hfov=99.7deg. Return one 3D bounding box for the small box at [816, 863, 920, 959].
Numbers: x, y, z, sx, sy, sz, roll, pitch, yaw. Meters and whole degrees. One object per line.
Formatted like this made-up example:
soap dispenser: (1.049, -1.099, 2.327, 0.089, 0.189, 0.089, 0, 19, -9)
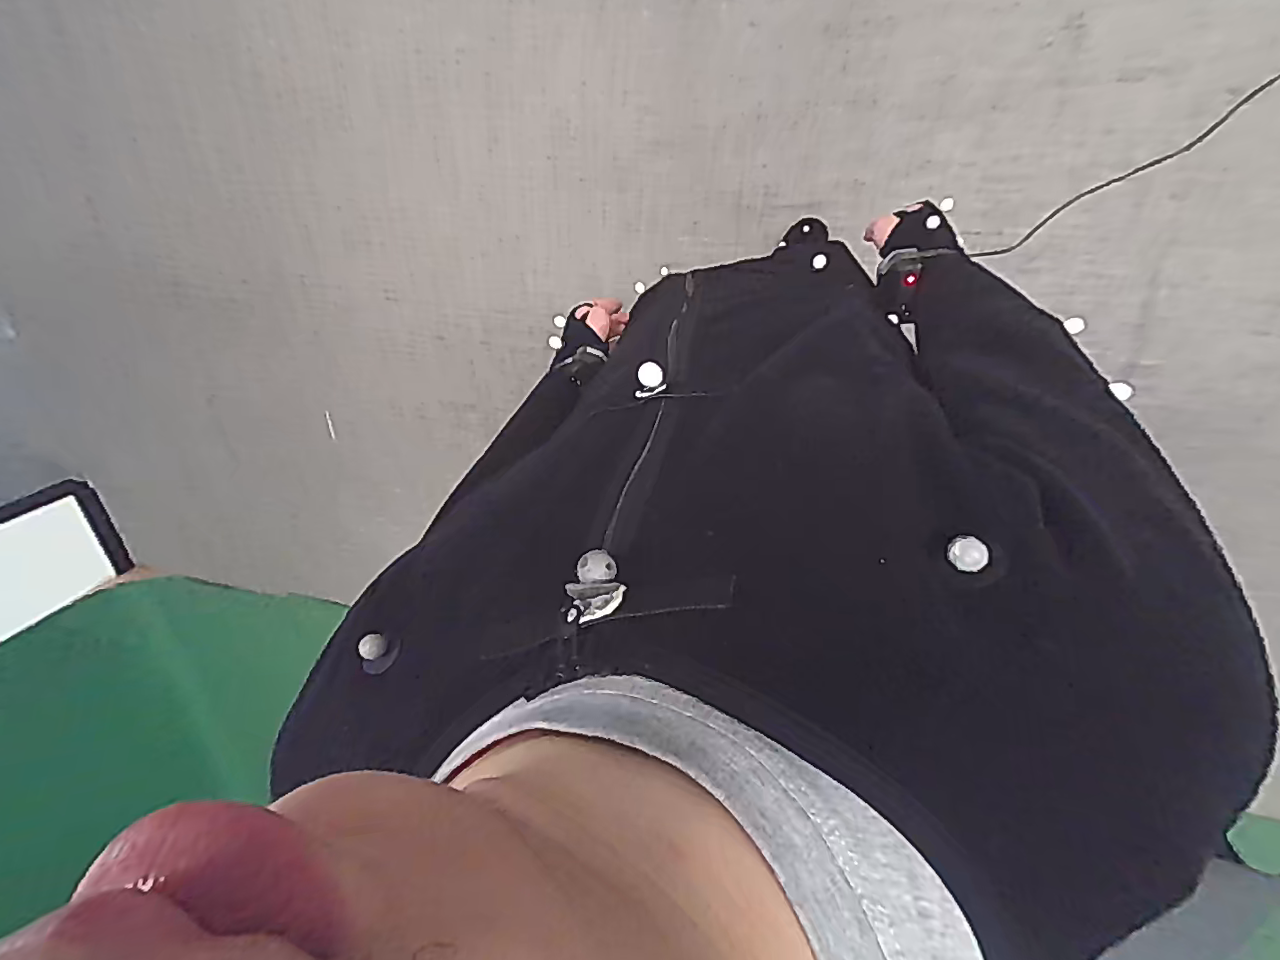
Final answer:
small box: (0.468, 0.942, 1.123, 0.179, 0.176, 0.168, 8, 117, 15)
